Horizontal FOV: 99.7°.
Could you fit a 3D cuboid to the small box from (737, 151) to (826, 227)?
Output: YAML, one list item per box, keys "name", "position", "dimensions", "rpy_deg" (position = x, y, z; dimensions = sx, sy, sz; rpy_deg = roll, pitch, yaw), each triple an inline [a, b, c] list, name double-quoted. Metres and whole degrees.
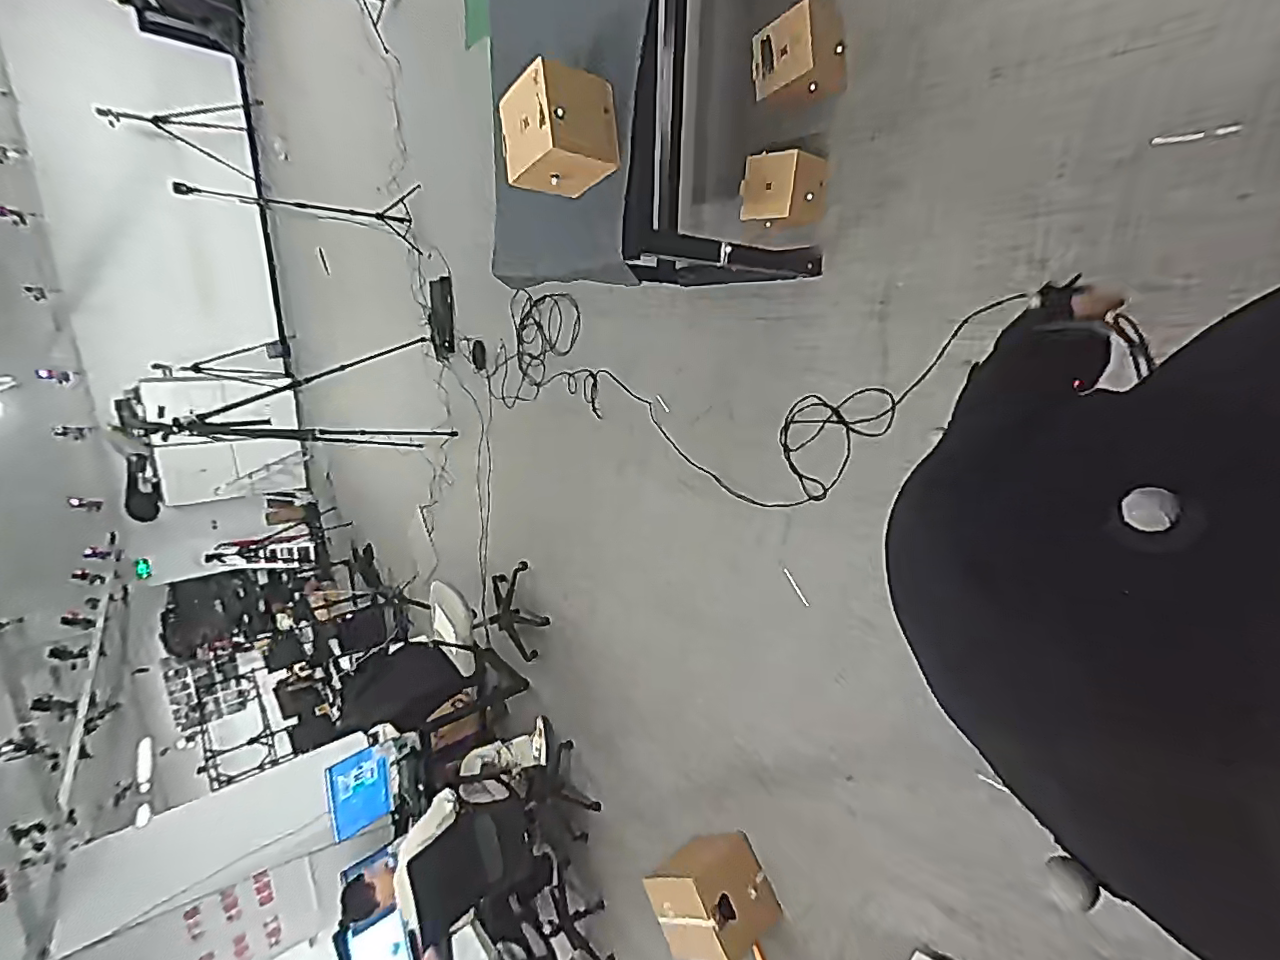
- name: "small box"
  position: [0.407, -0.829, 1.551]
  dimensions: [0.179, 0.176, 0.168]
  rpy_deg: [24, 118, 45]

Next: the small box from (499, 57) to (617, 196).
- name: "small box"
  position: [-0.168, -0.711, 1.114]
  dimensions: [0.179, 0.176, 0.168]
  rpy_deg: [1, 100, 49]
